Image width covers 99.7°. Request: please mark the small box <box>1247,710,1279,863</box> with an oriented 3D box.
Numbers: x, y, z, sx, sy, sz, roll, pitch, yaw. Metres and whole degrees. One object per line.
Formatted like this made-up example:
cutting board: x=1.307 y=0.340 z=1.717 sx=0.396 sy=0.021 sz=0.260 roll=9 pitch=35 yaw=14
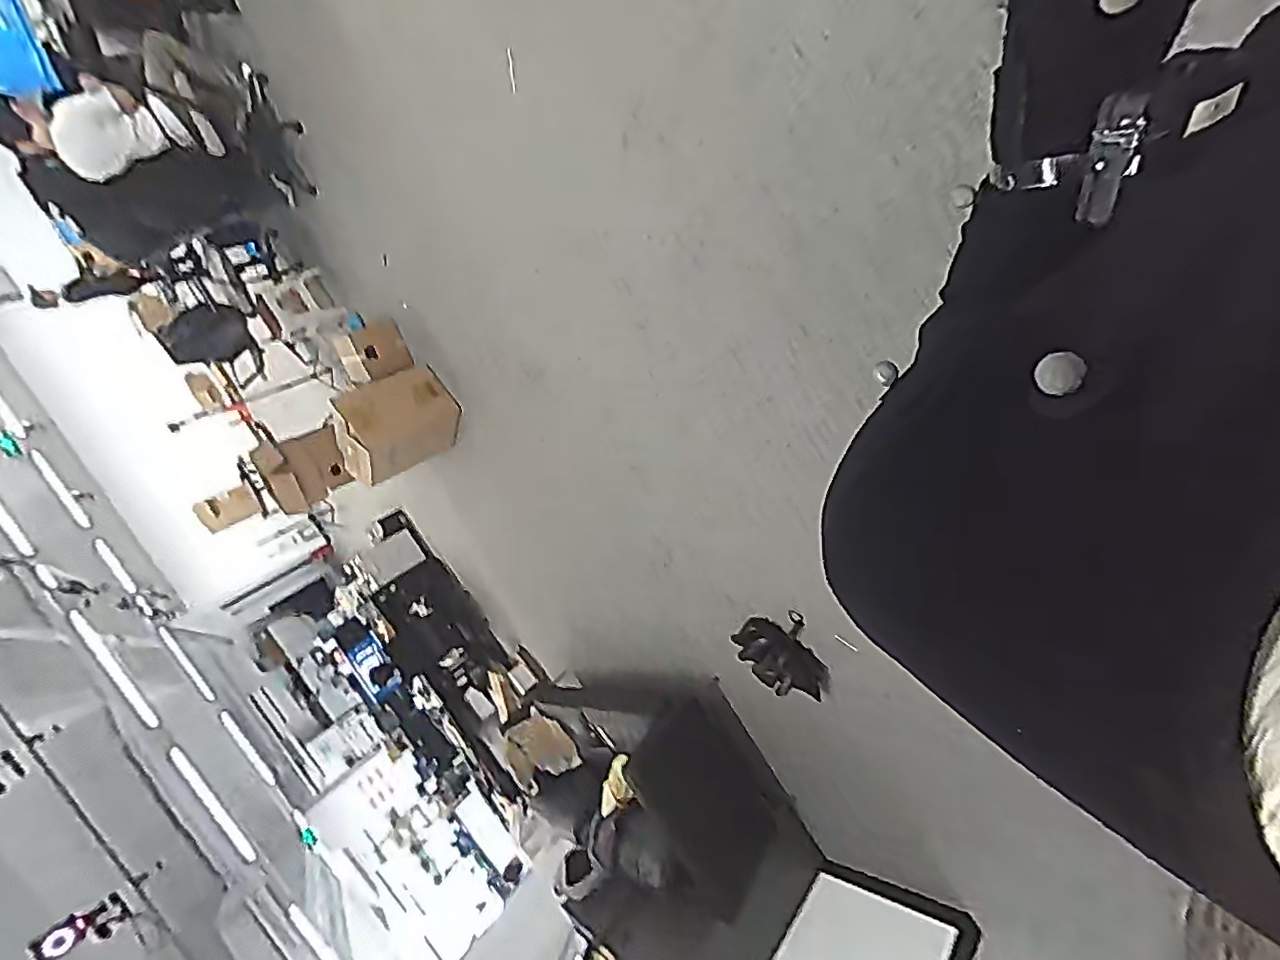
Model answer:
small box: x=0.873 y=0.405 z=0.636 sx=0.179 sy=0.176 sz=0.168 roll=57 pitch=145 yaw=-4
